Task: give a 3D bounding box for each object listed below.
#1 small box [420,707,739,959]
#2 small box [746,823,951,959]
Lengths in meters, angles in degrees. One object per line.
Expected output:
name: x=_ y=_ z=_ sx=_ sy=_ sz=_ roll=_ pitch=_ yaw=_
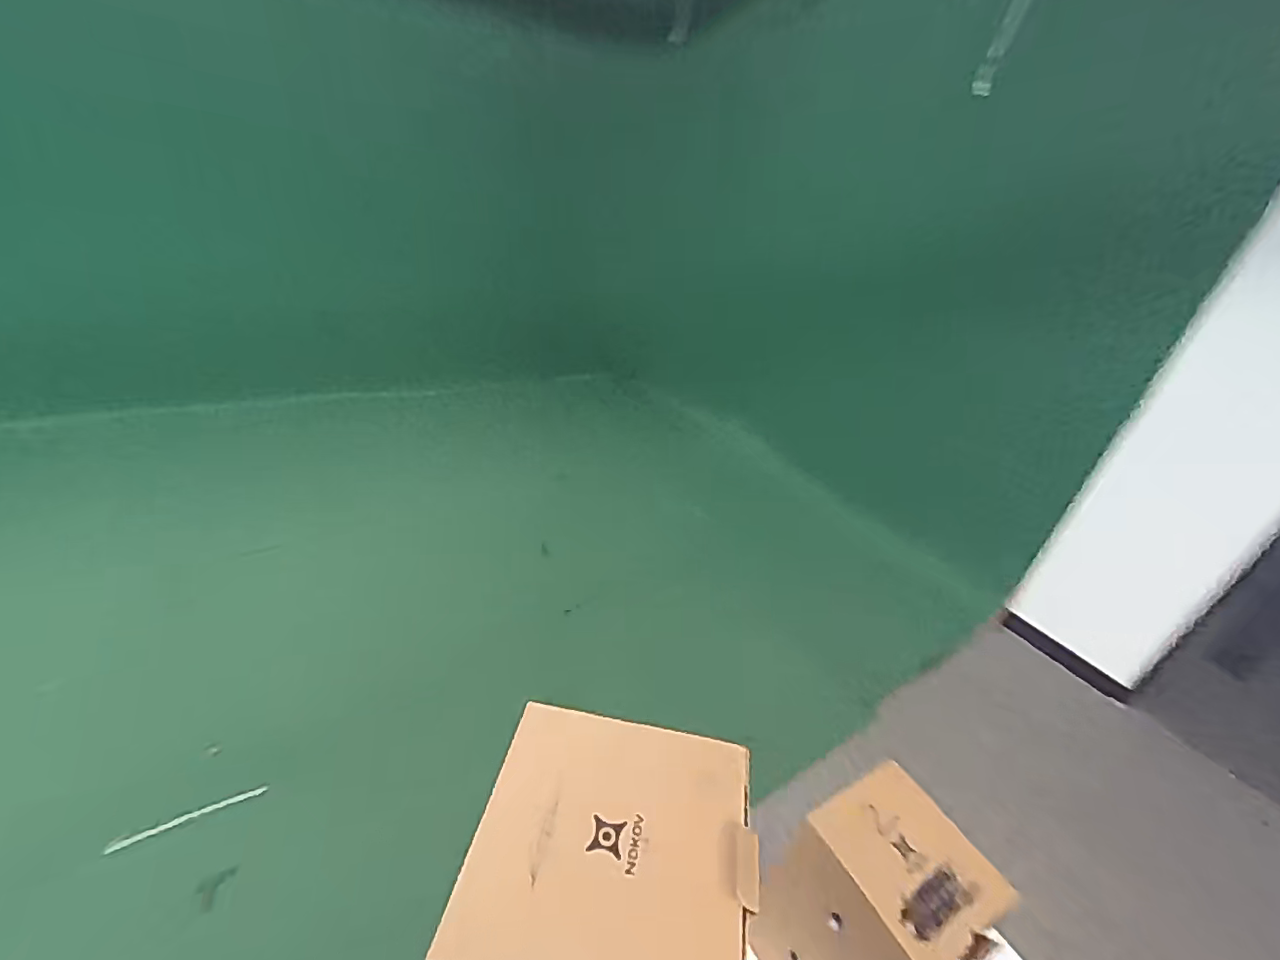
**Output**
small box: x=-0.029 y=0.300 z=0.394 sx=0.179 sy=0.176 sz=0.168 roll=7 pitch=33 yaw=5
small box: x=0.272 y=0.632 z=0.747 sx=0.168 sy=0.176 sz=0.179 roll=-11 pitch=39 yaw=-29
